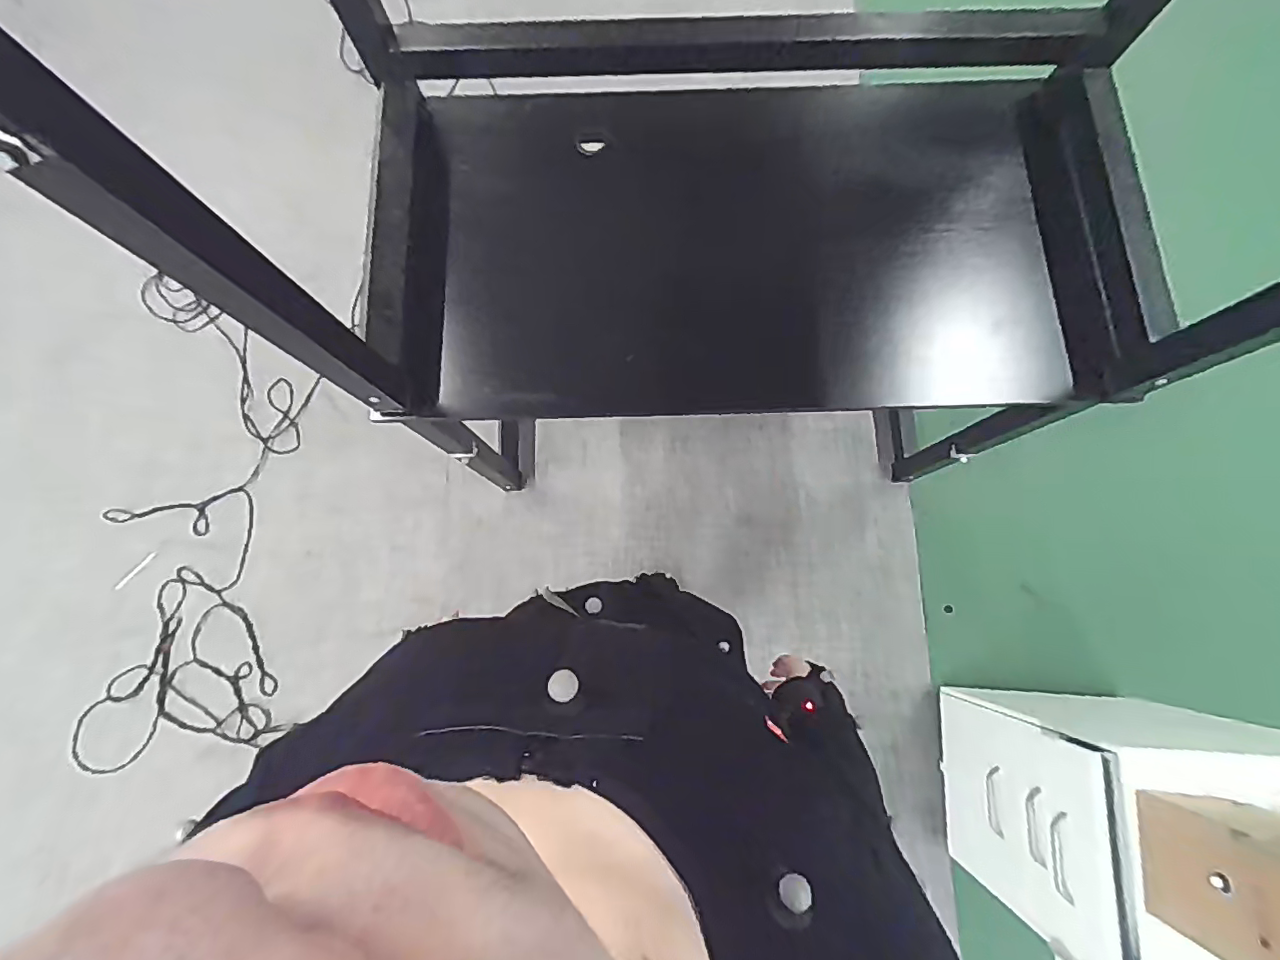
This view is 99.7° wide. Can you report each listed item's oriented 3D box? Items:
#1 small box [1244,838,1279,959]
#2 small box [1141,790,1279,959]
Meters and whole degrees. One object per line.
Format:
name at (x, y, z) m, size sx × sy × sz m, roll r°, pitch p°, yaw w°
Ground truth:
small box at (0.829, 0.519, 0.590) m, size 0.179 × 0.176 × 0.168 m, roll 3°, pitch 80°, yaw 0°
small box at (0.848, 0.556, 0.748) m, size 0.168 × 0.176 × 0.179 m, roll 6°, pitch 80°, yaw 1°
